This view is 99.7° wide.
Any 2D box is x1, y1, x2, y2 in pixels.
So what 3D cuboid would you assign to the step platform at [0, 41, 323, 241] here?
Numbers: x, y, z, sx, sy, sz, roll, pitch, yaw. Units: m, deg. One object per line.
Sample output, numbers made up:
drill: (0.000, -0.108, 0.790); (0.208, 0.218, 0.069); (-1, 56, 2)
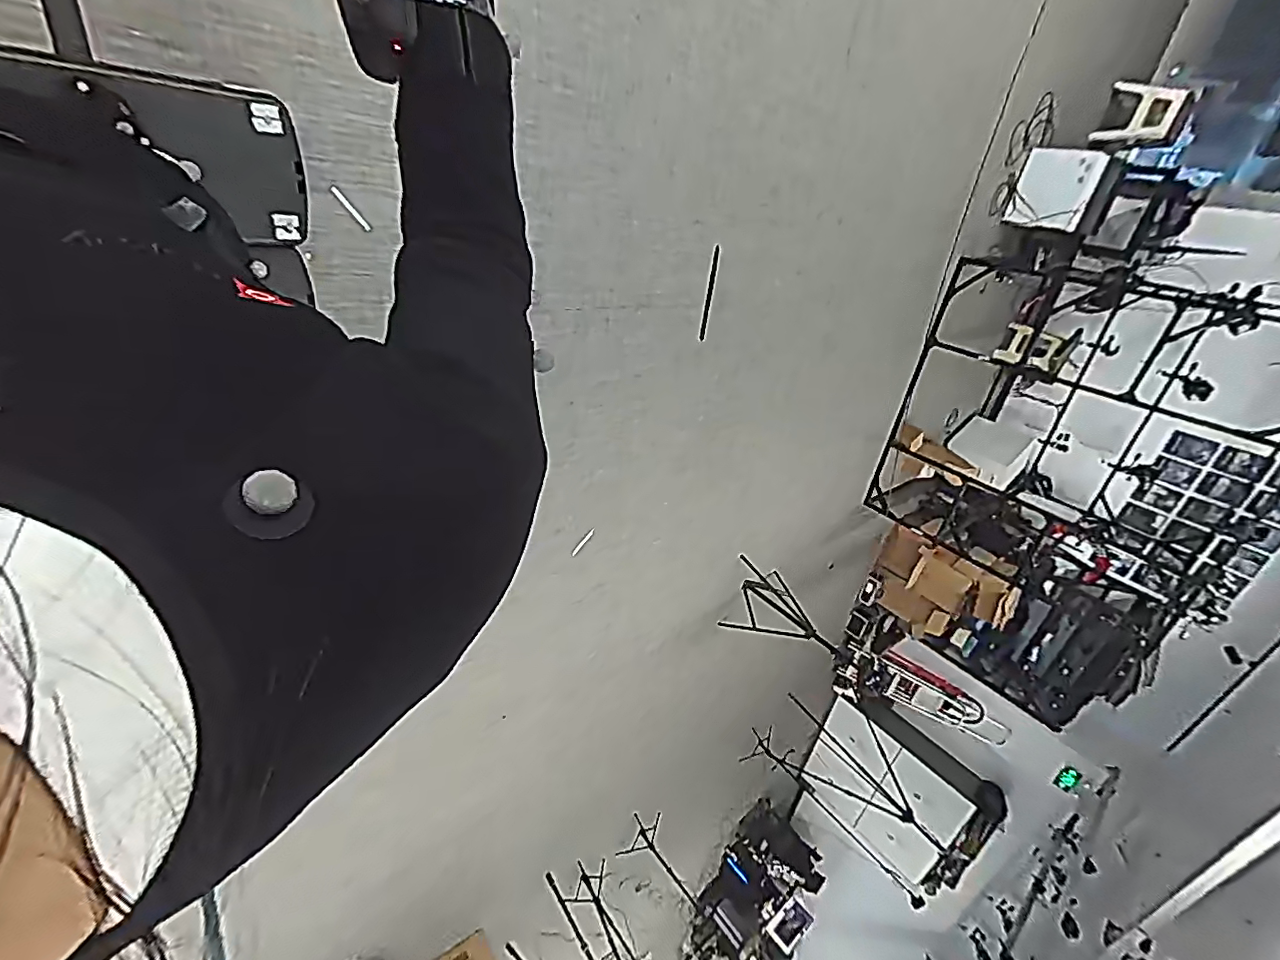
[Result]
step platform: (-0.989, -0.618, 1.009); (0.684, 0.204, 0.286); (-17, 129, -38)
